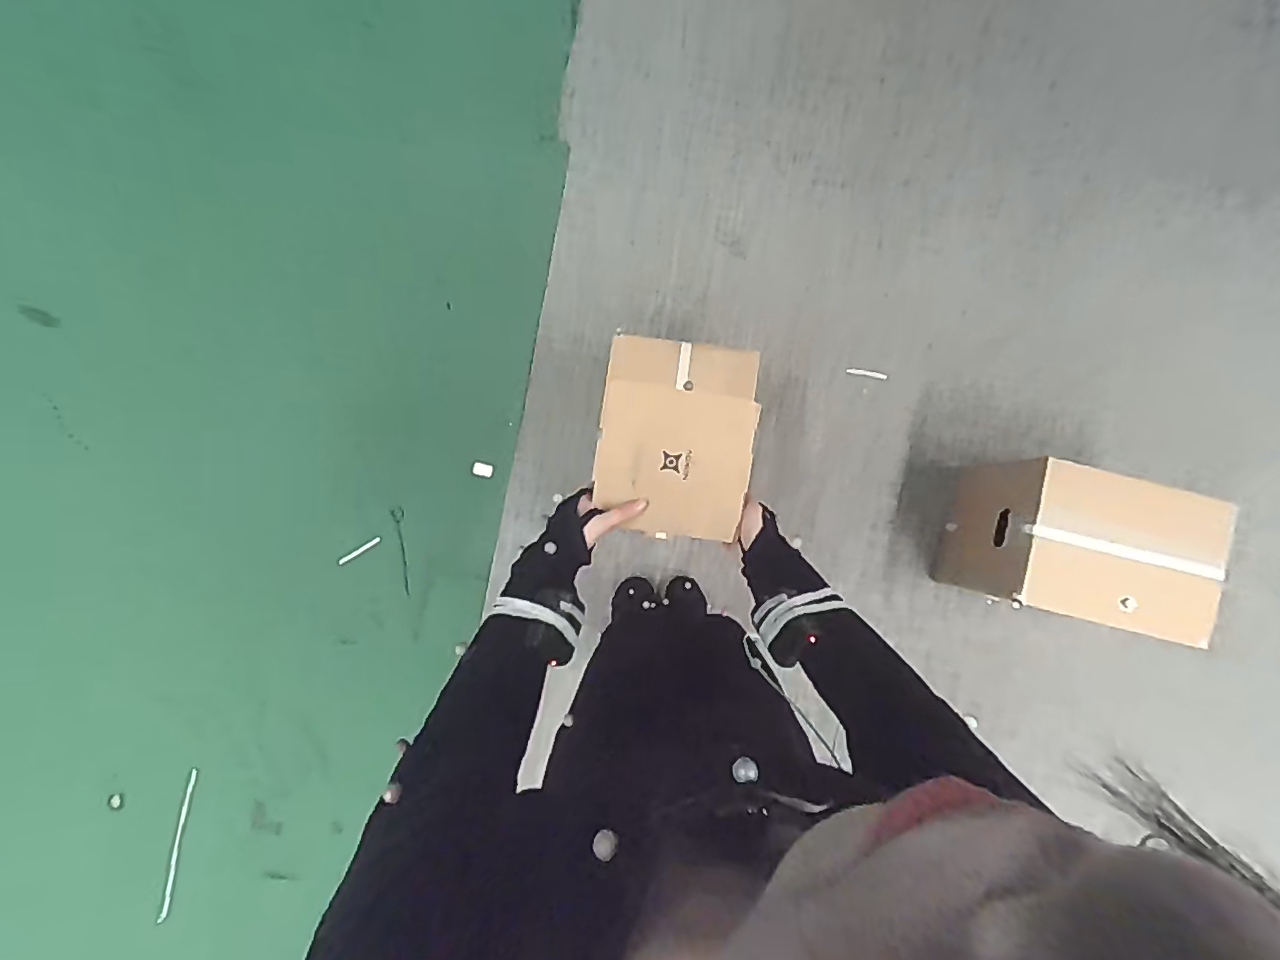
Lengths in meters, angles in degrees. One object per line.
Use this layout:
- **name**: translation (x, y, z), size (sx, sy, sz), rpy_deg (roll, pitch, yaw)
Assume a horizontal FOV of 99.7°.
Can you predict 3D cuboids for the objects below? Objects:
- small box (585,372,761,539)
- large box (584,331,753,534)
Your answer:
- **small box**: translation (0.036, -0.034, 0.684), size (0.179, 0.176, 0.168), rpy_deg (9, 95, 0)
- **large box**: translation (0.063, -0.086, 1.263), size (0.320, 0.320, 0.408), rpy_deg (8, 86, 0)
